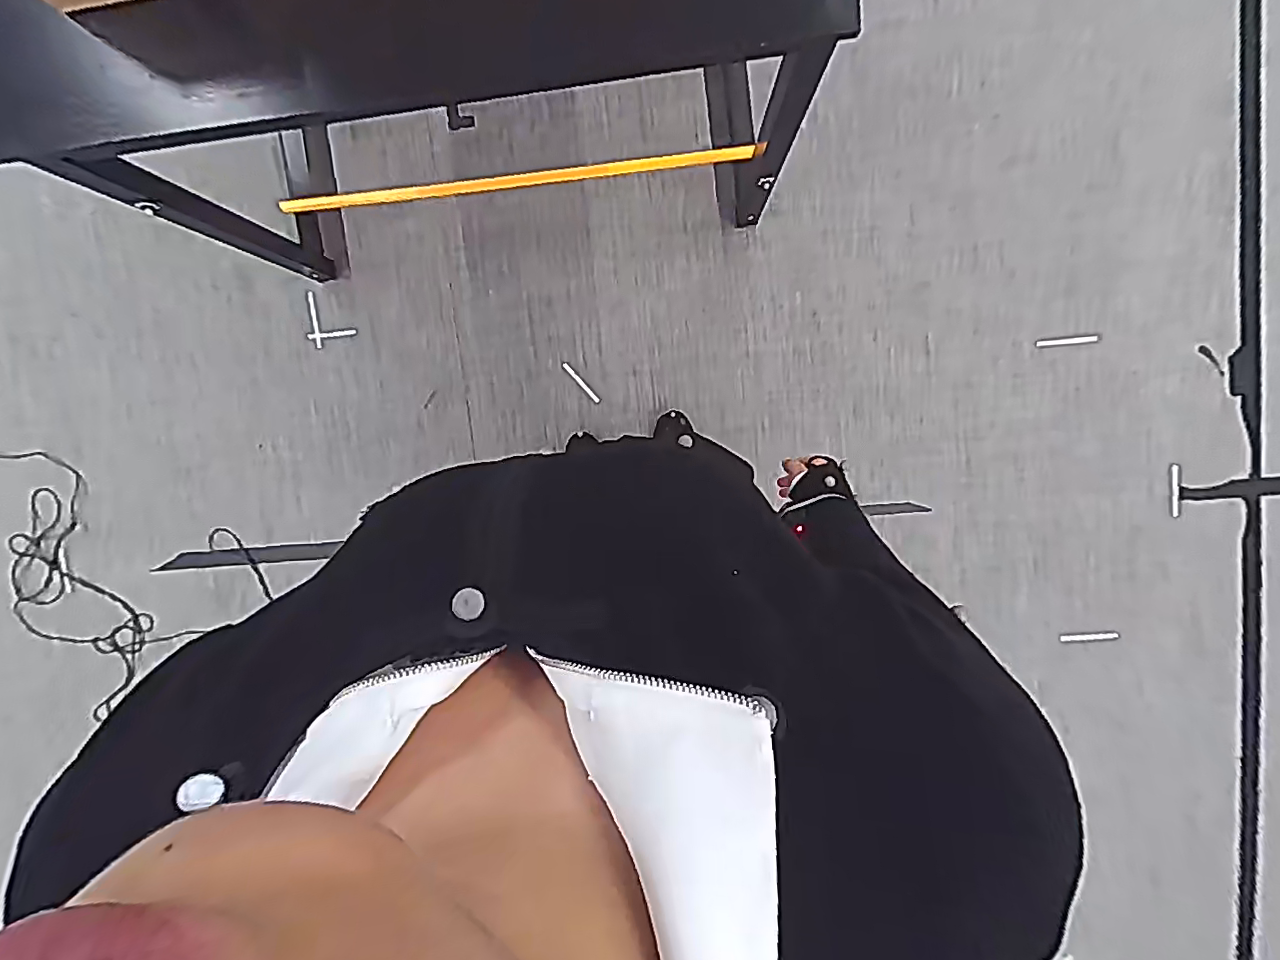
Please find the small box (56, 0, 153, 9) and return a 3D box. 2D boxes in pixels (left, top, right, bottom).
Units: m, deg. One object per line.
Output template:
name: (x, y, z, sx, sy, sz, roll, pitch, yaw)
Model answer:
small box: (-0.698, -0.709, 0.638, 0.179, 0.176, 0.168, -8, 95, 2)
